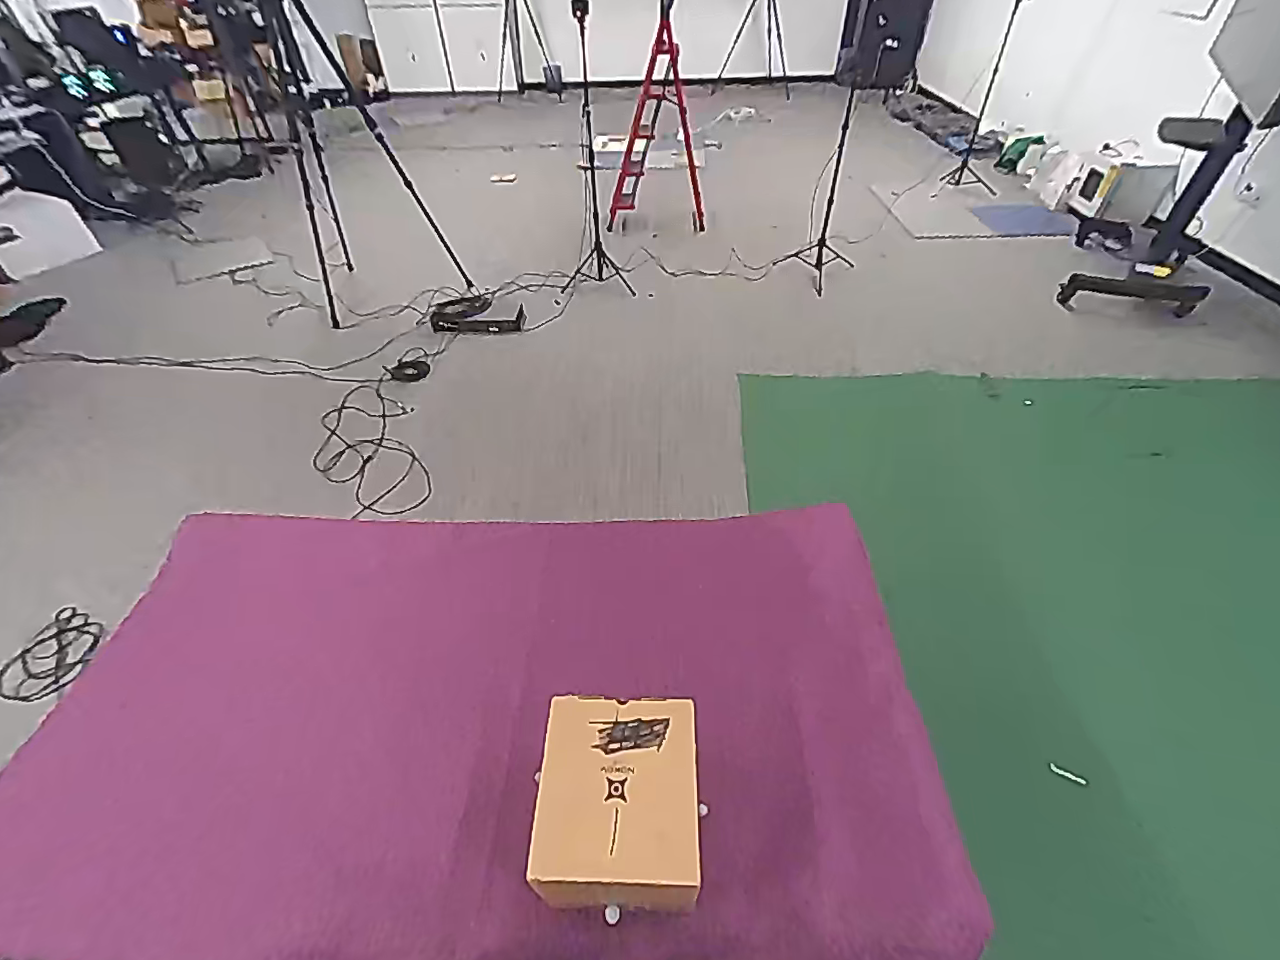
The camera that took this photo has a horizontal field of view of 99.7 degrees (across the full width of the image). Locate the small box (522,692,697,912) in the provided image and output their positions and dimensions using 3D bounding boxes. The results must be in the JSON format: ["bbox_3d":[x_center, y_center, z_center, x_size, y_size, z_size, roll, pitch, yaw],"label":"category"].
[{"bbox_3d":[-0.024,0.362,0.611,0.168,0.176,0.179,0,45,3],"label":"small box"}]
